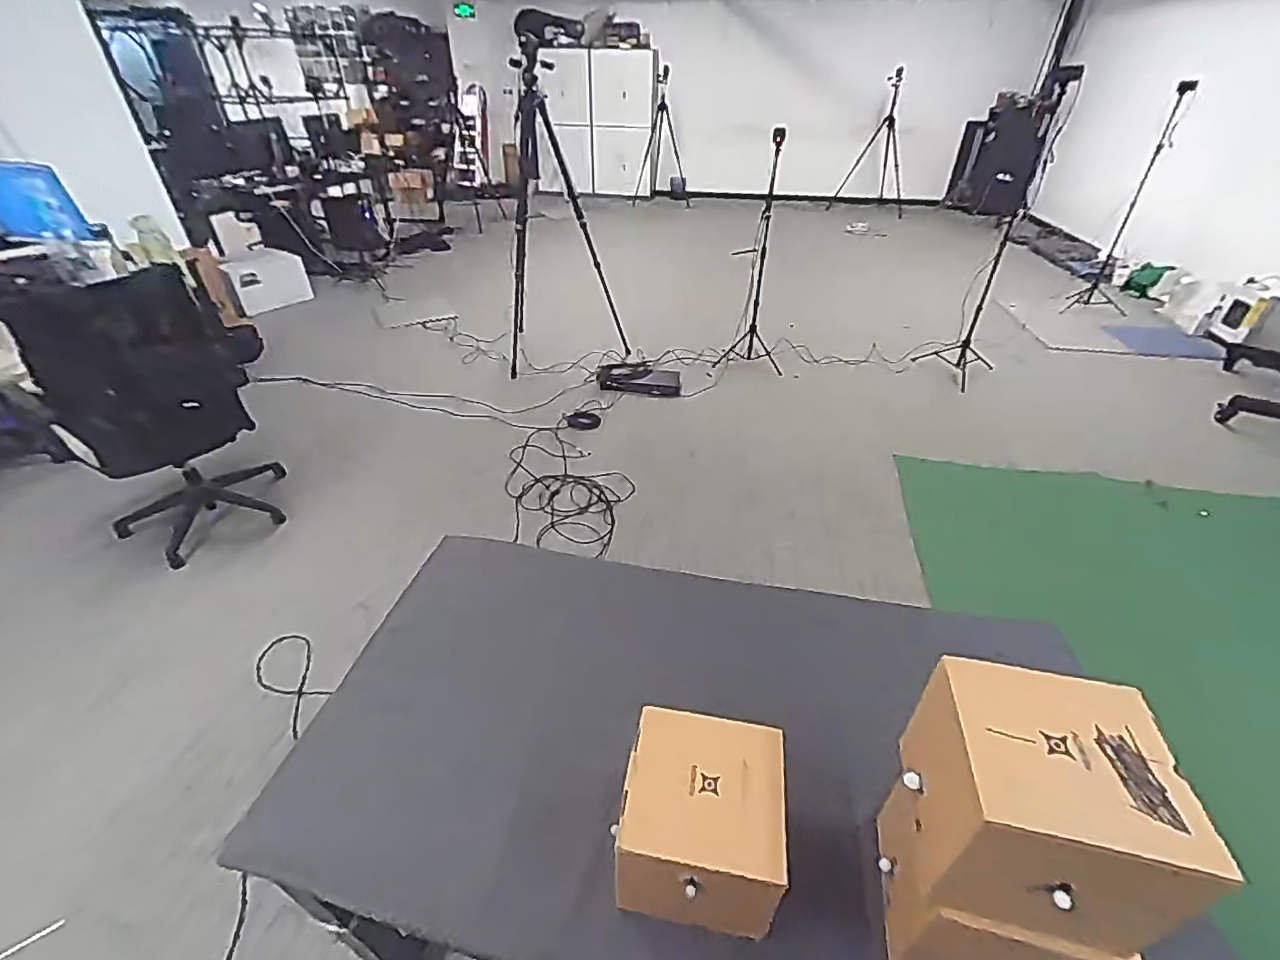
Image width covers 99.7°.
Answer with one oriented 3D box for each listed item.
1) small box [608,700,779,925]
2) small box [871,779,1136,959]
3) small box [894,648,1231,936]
[{"bbox_3d":[0.065,0.397,0.649,0.179,0.176,0.168,7,36,7],"label":"small box"},{"bbox_3d":[0.373,0.435,0.597,0.179,0.176,0.168,10,35,12],"label":"small box"},{"bbox_3d":[0.364,0.293,0.515,0.179,0.176,0.168,8,35,12],"label":"small box"}]
